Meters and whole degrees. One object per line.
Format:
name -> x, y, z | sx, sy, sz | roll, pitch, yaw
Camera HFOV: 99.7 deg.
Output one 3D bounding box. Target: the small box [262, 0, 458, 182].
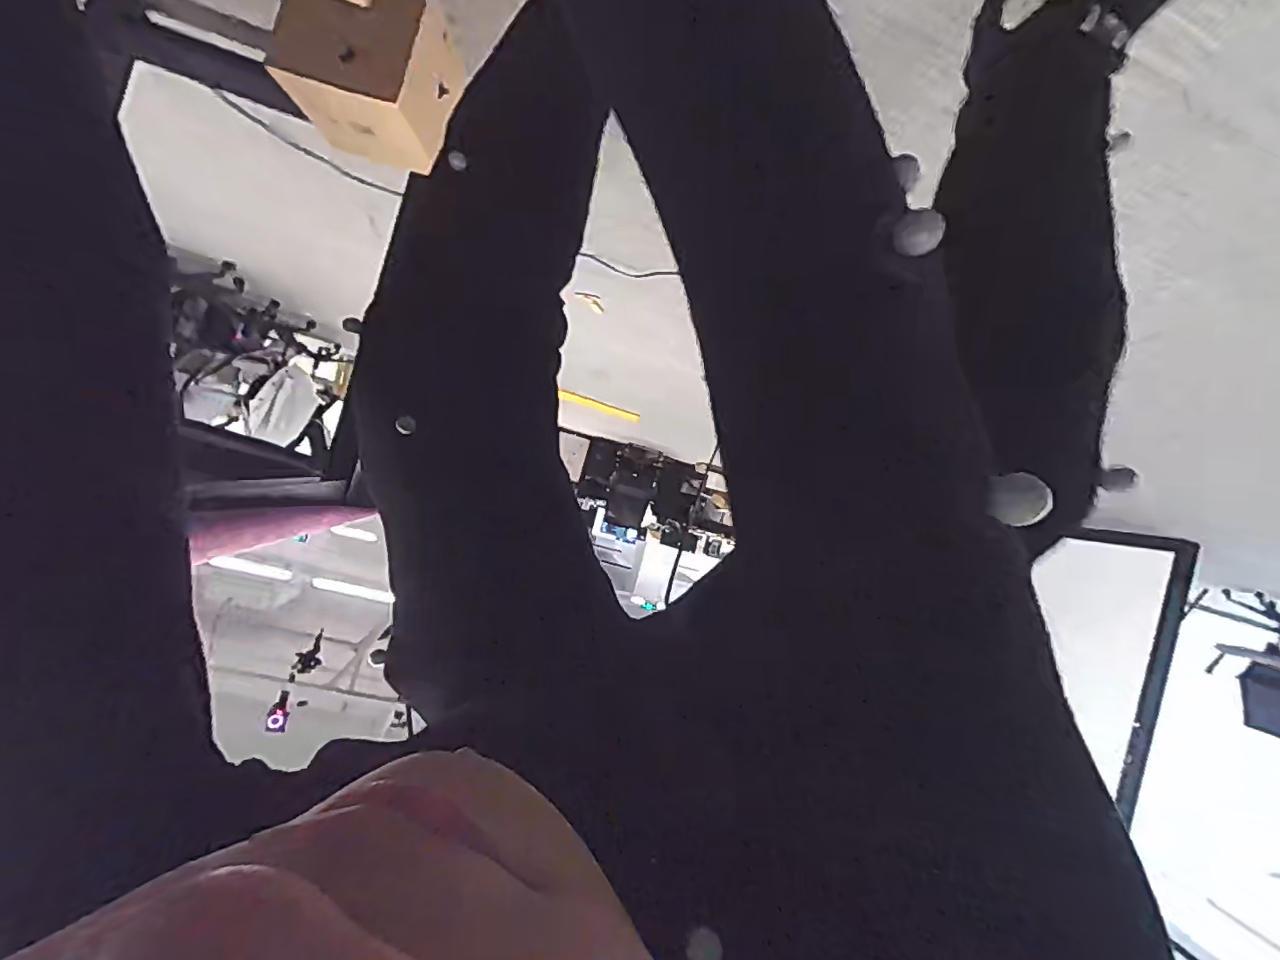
small box -> -0.368, -0.559, 0.748 | 0.179, 0.176, 0.168 | 16, 178, -2
